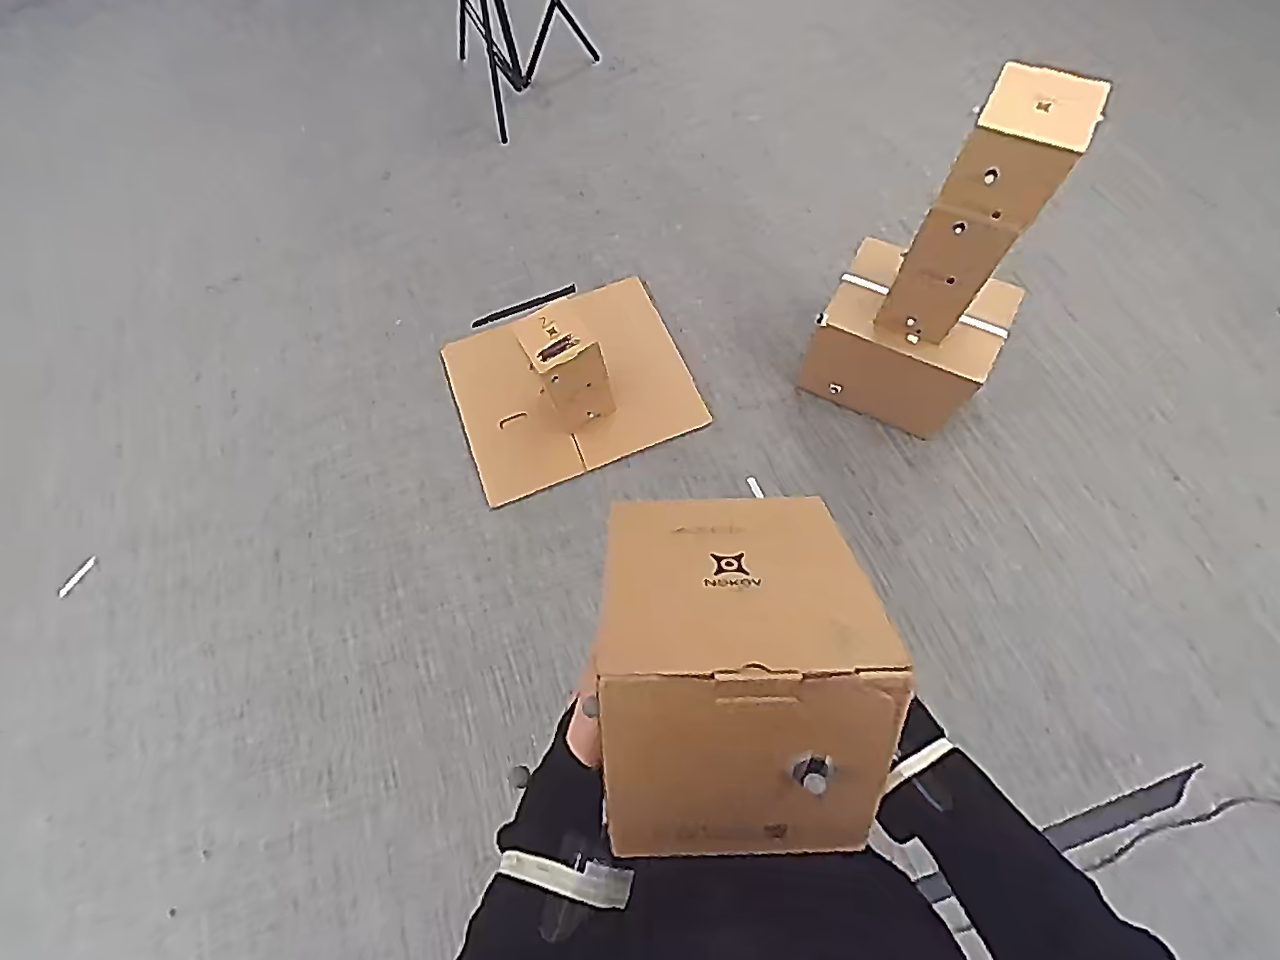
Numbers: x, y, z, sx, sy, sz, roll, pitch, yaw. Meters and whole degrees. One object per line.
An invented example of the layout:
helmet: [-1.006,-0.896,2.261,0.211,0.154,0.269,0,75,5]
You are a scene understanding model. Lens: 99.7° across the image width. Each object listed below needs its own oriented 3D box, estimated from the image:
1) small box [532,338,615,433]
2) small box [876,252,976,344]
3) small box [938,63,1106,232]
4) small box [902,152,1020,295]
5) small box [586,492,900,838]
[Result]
small box: [-0.188,-0.268,1.569,0.168,0.176,0.179,-30,69,-5]
small box: [0.674,-0.453,1.251,0.168,0.176,0.179,26,73,14]
small box: [0.654,-0.574,0.948,0.168,0.176,0.179,26,72,14]
small box: [0.664,-0.517,1.100,0.168,0.176,0.179,26,72,14]
small box: [0.055,0.125,0.386,0.168,0.176,0.179,-1,28,0]
